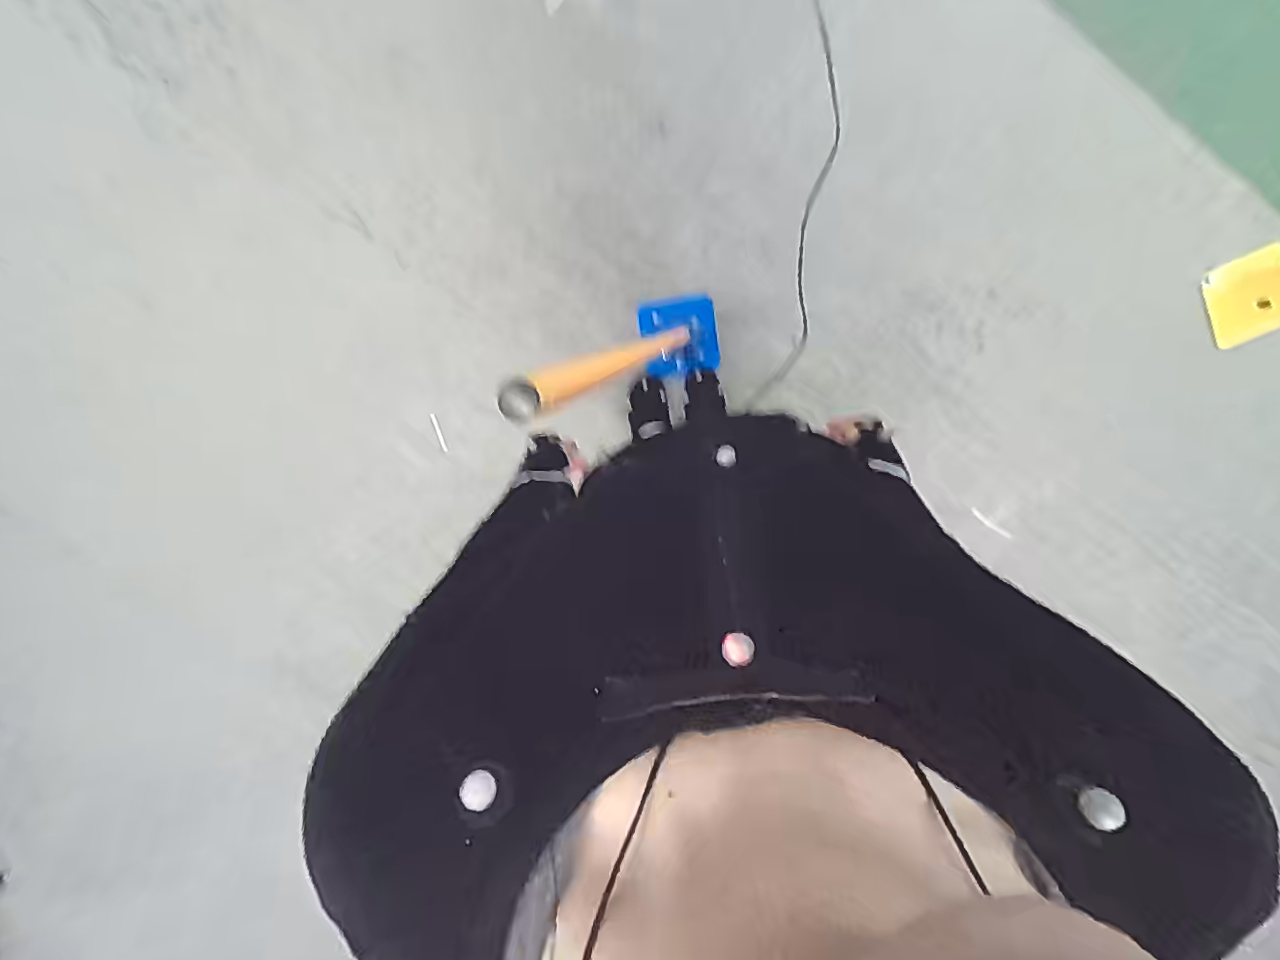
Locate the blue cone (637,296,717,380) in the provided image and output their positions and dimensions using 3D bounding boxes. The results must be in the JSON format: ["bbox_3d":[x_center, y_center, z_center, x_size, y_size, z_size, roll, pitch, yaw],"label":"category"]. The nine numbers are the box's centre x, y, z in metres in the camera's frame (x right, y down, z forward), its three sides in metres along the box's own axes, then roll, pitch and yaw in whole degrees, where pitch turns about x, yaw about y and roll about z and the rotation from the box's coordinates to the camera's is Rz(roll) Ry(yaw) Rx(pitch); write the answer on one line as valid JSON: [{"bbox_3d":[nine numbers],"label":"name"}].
[{"bbox_3d":[0.090,-0.324,1.241,0.193,0.380,0.192,-10,103,6],"label":"blue cone"}]
